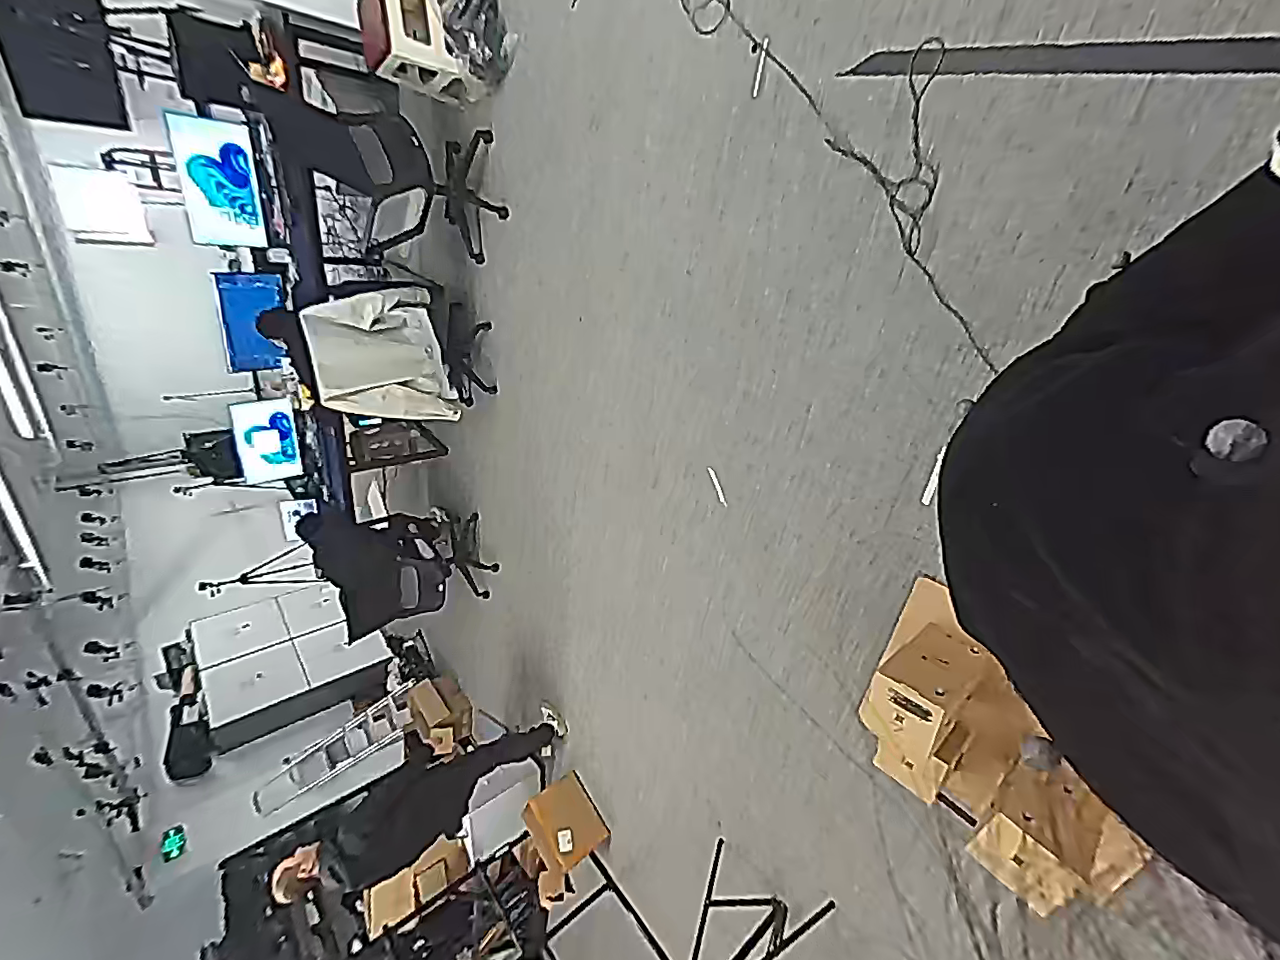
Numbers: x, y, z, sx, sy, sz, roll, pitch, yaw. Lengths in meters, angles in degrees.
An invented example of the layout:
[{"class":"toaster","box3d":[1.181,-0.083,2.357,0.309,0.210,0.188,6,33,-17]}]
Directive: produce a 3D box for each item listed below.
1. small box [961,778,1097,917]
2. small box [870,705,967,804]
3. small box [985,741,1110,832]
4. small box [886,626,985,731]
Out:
[{"class":"small box","box3d":[0.878,0.815,1.223,0.179,0.176,0.168,36,128,35]},{"class":"small box","box3d":[0.802,0.776,1.562,0.179,0.176,0.168,27,123,41]},{"class":"small box","box3d":[0.999,0.778,1.328,0.179,0.176,0.168,35,127,36]},{"class":"small box","box3d":[0.807,0.531,1.471,0.168,0.176,0.179,28,123,41]}]
